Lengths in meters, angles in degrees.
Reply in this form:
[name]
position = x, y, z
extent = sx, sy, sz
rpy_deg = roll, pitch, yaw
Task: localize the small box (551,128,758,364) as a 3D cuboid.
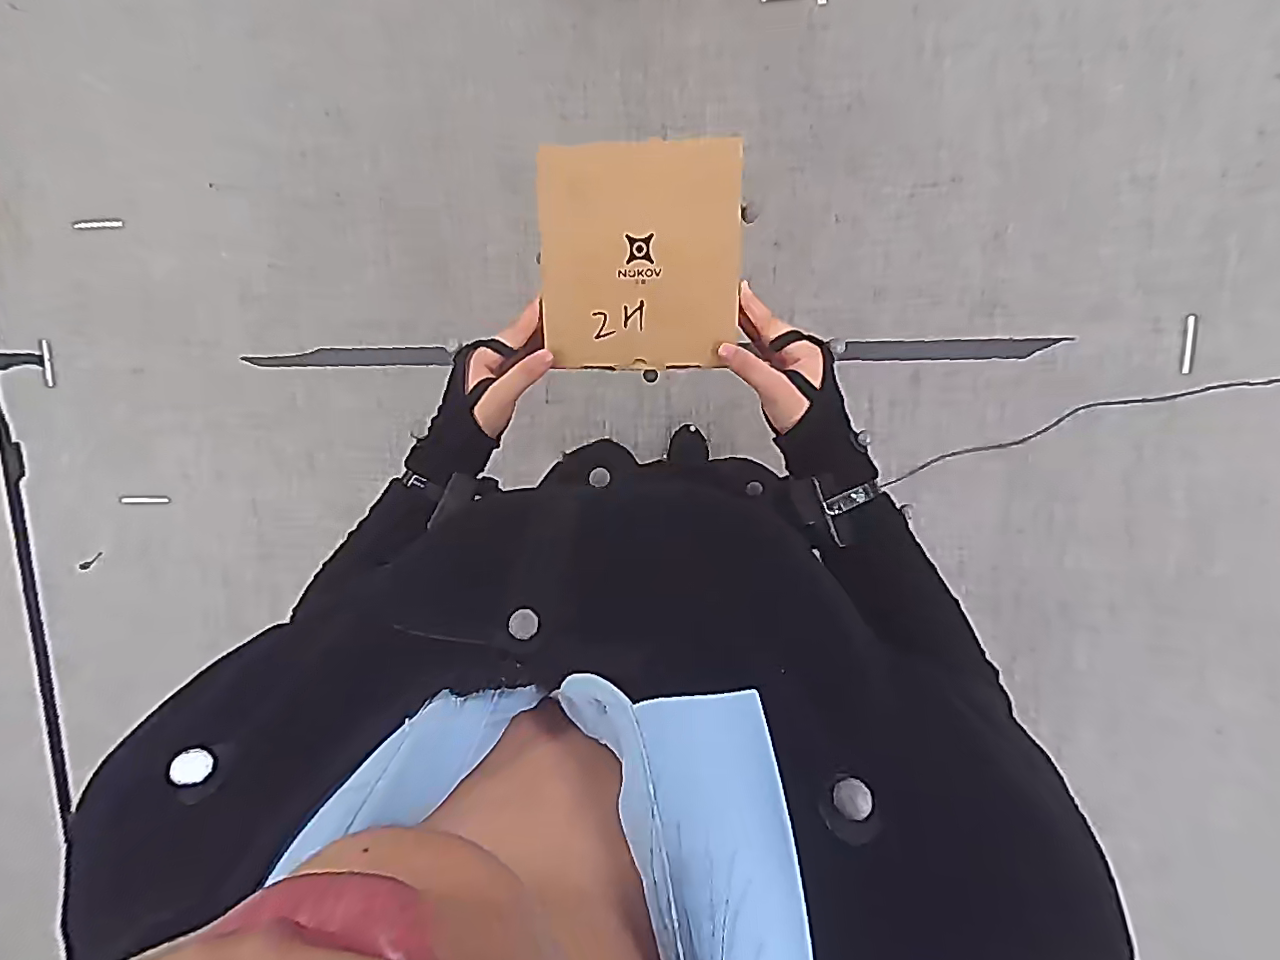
[small box]
position = 0.016, -0.202, 0.514
extent = 0.168, 0.176, 0.179
rpy_deg = 1, 102, 6
